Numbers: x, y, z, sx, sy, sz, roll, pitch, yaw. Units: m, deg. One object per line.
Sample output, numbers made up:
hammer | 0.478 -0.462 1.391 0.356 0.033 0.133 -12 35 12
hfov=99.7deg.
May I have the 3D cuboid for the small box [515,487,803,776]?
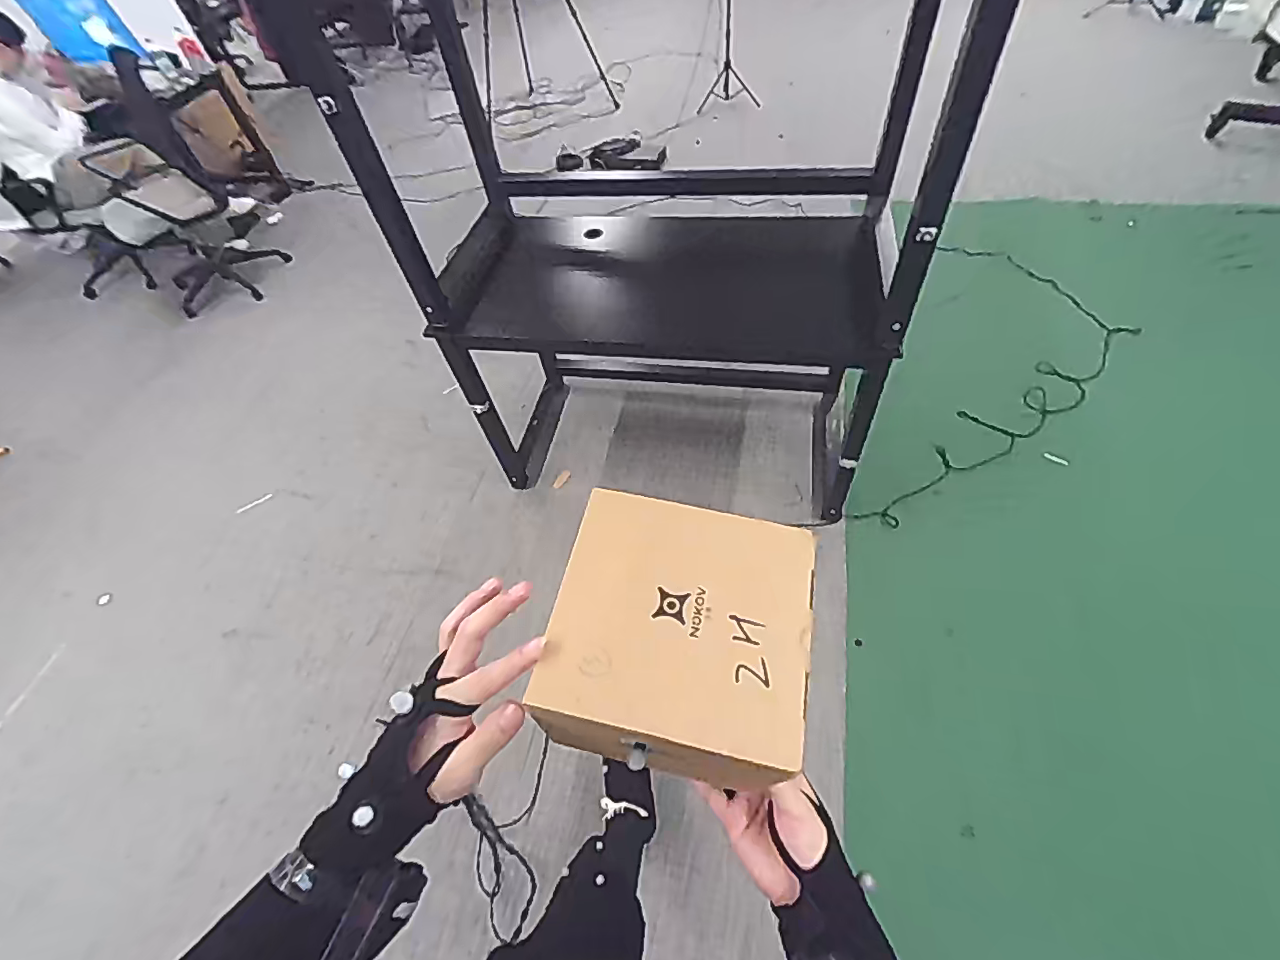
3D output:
small box | 0.021 0.130 0.442 0.179 0.176 0.168 11 58 7
